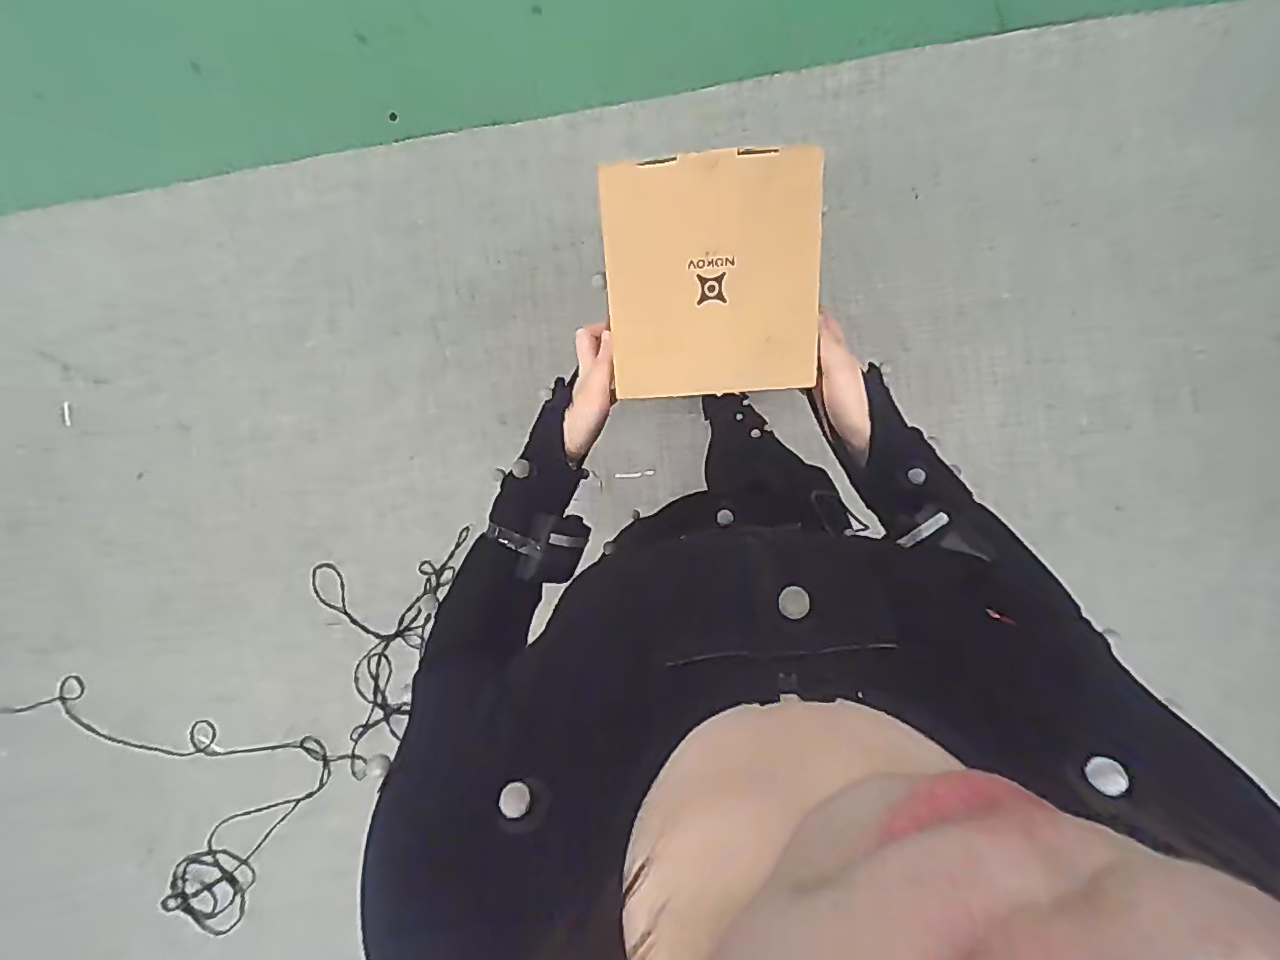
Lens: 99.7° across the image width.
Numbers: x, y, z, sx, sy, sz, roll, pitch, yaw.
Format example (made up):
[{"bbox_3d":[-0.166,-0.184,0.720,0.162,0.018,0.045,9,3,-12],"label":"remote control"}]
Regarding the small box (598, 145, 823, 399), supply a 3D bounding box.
[{"bbox_3d":[0.060,-0.179,0.493,0.168,0.176,0.179,-3,108,4],"label":"small box"}]
